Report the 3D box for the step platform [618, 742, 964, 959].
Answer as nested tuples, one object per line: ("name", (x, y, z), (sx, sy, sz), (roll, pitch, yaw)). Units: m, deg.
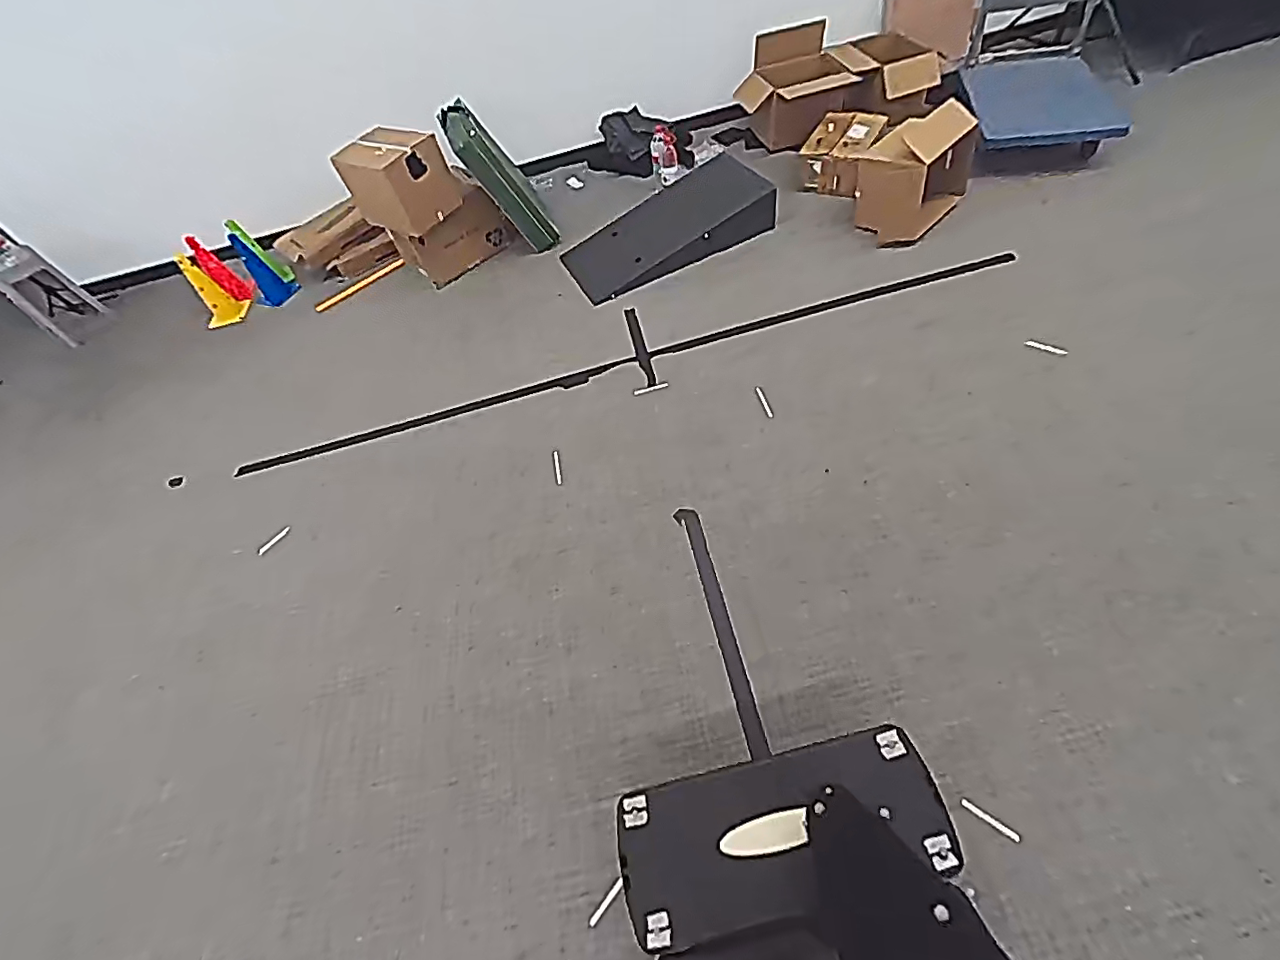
("step platform", (0.294, 0.796, 1.150), (0.684, 0.204, 0.286), (-16, 53, -1))
